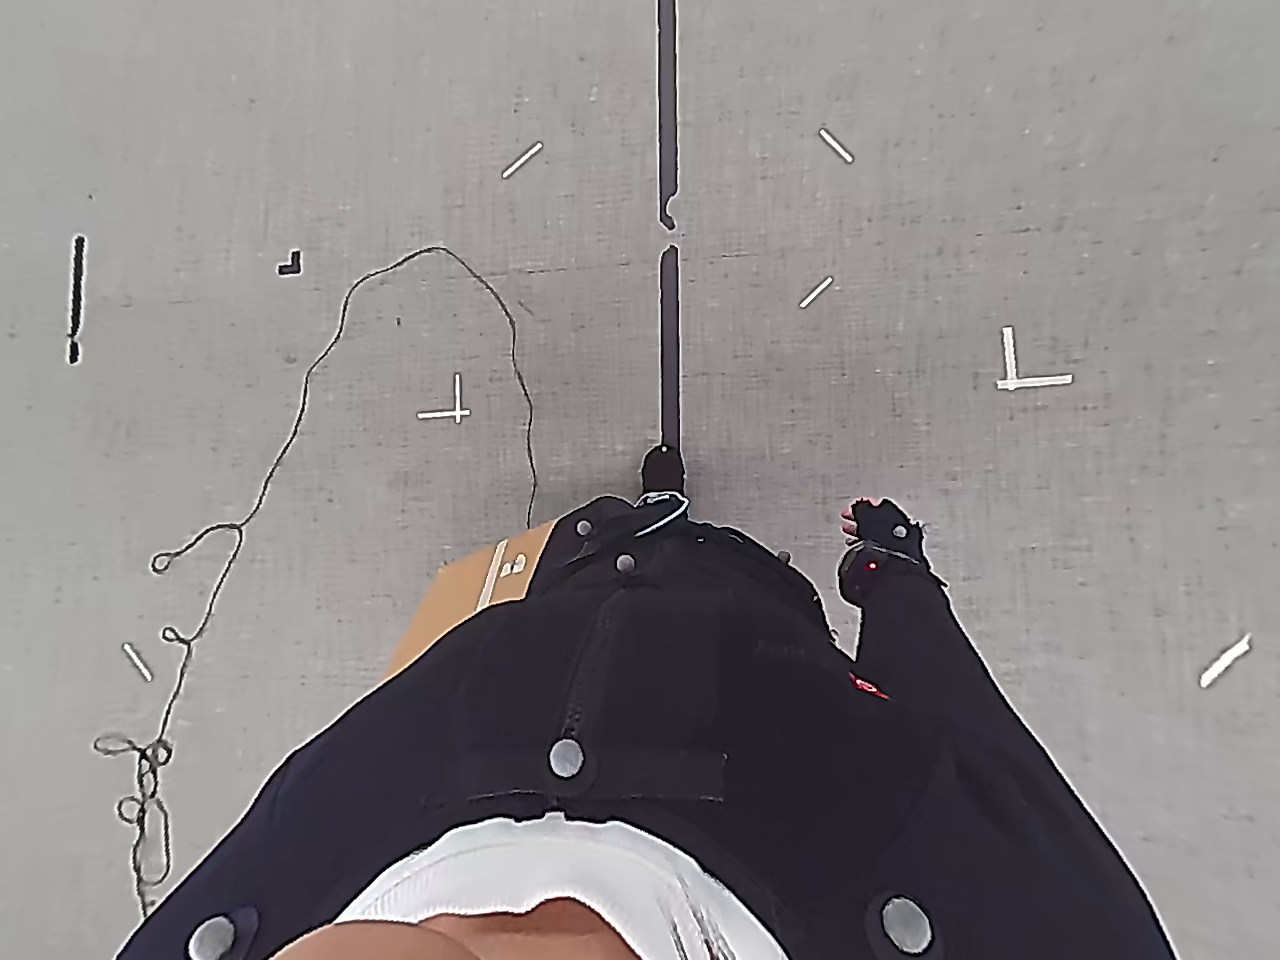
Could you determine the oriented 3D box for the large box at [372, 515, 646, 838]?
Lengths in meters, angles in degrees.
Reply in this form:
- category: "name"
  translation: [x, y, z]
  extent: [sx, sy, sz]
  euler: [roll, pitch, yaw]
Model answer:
- category: "large box"
  translation: [-0.199, 0.326, 0.984]
  extent: [0.320, 0.408, 0.320]
  euler: [-22, 112, 5]
